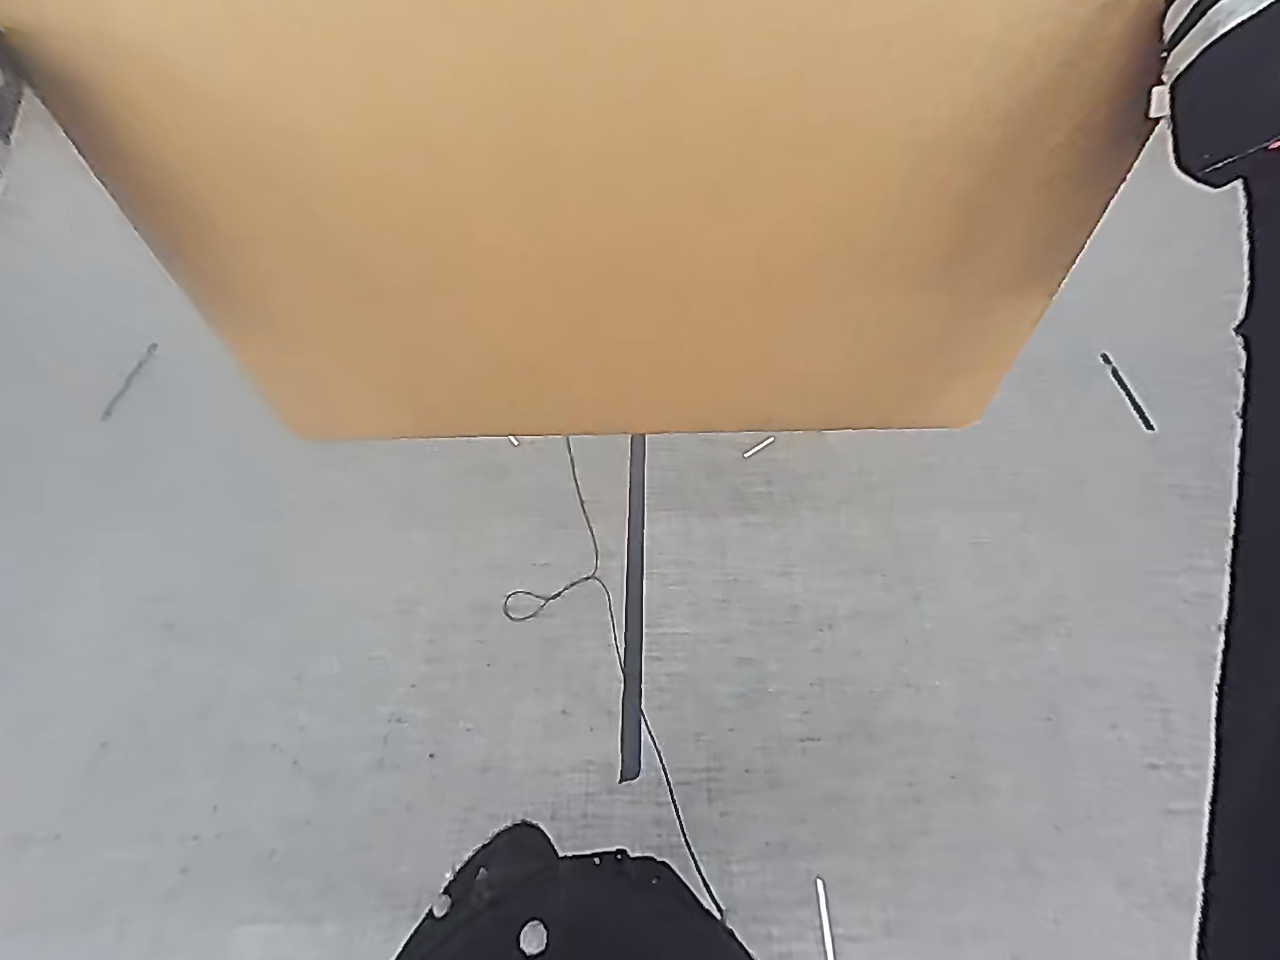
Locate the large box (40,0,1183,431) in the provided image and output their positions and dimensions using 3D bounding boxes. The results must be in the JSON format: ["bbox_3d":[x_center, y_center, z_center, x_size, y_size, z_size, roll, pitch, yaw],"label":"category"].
[{"bbox_3d":[-0.009,-0.244,0.316,0.408,0.320,0.320,-1,49,0],"label":"large box"}]
